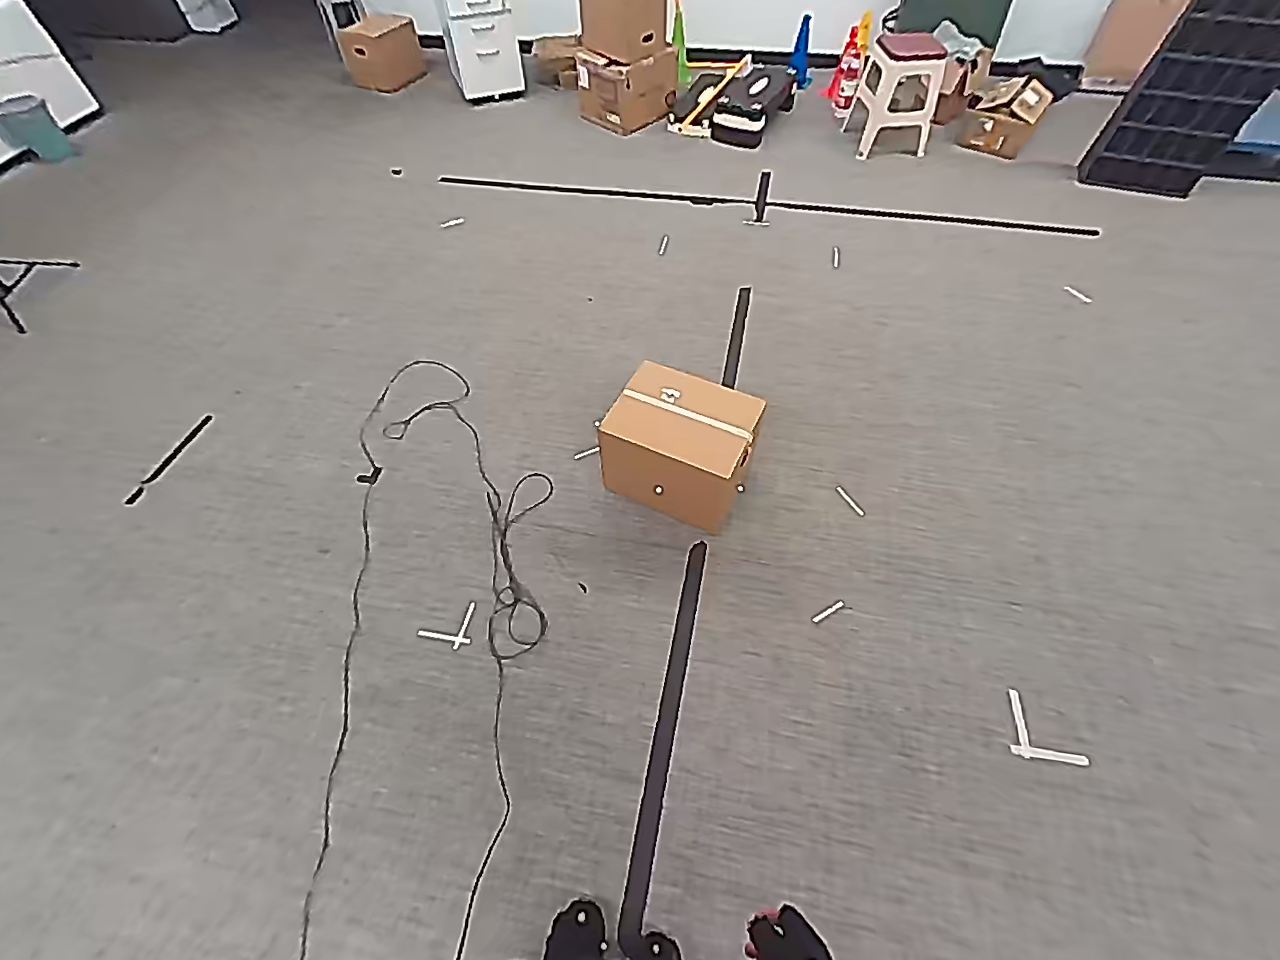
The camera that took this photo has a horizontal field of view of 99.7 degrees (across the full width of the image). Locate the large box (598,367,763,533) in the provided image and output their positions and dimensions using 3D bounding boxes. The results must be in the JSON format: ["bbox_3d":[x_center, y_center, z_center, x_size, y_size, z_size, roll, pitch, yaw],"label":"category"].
[{"bbox_3d":[0.129,-0.092,1.688,0.408,0.320,0.320,22,58,16],"label":"large box"}]
